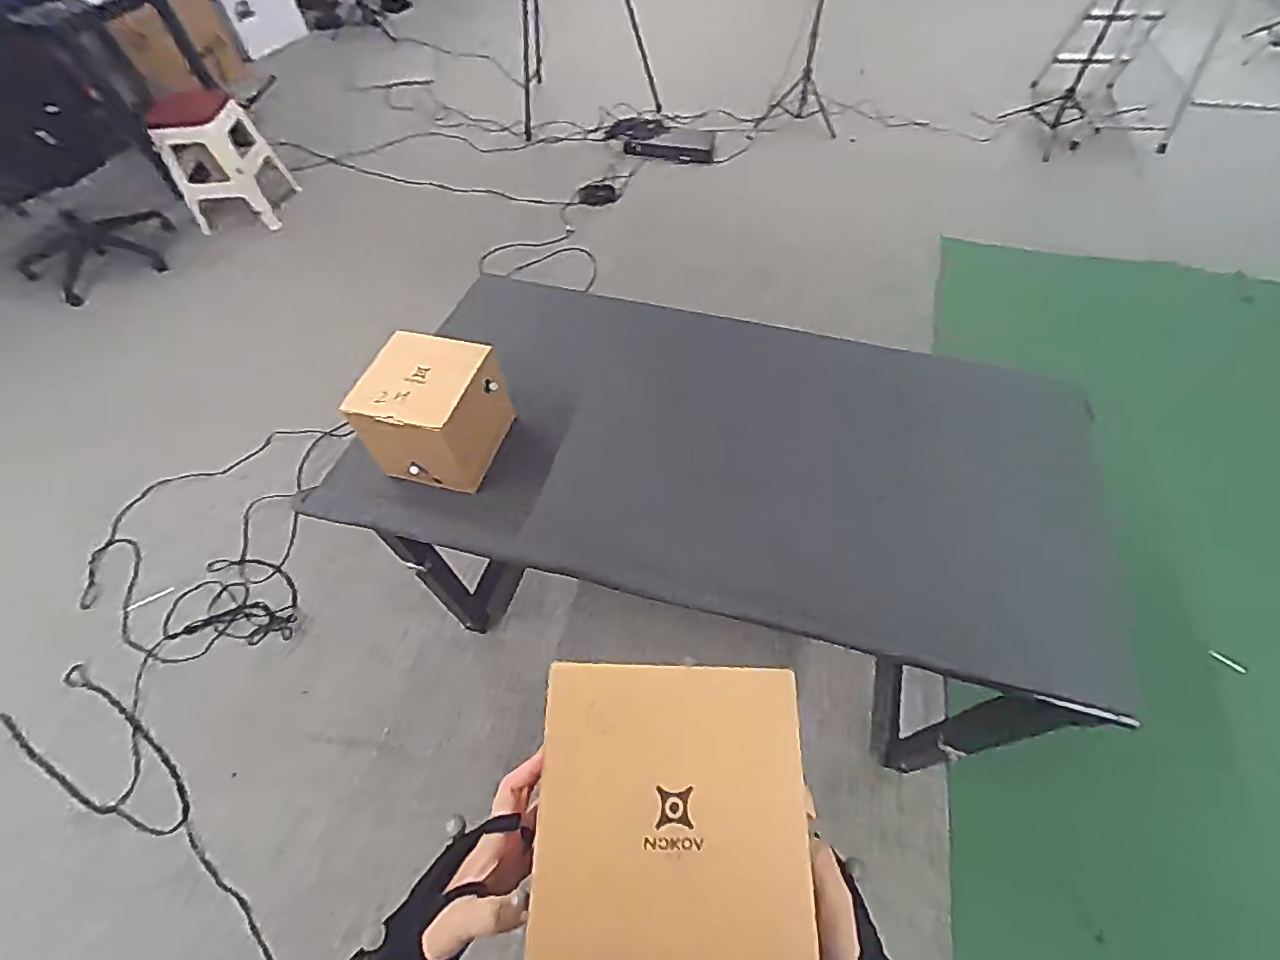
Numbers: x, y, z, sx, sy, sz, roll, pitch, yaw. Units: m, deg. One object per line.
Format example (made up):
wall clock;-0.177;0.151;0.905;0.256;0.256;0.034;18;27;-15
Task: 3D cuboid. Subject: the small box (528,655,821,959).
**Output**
small box;0.014;0.231;0.399;0.168;0.176;0.179;2;66;-4

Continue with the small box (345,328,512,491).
small box;-0.320;-0.111;0.866;0.168;0.176;0.179;12;57;10
